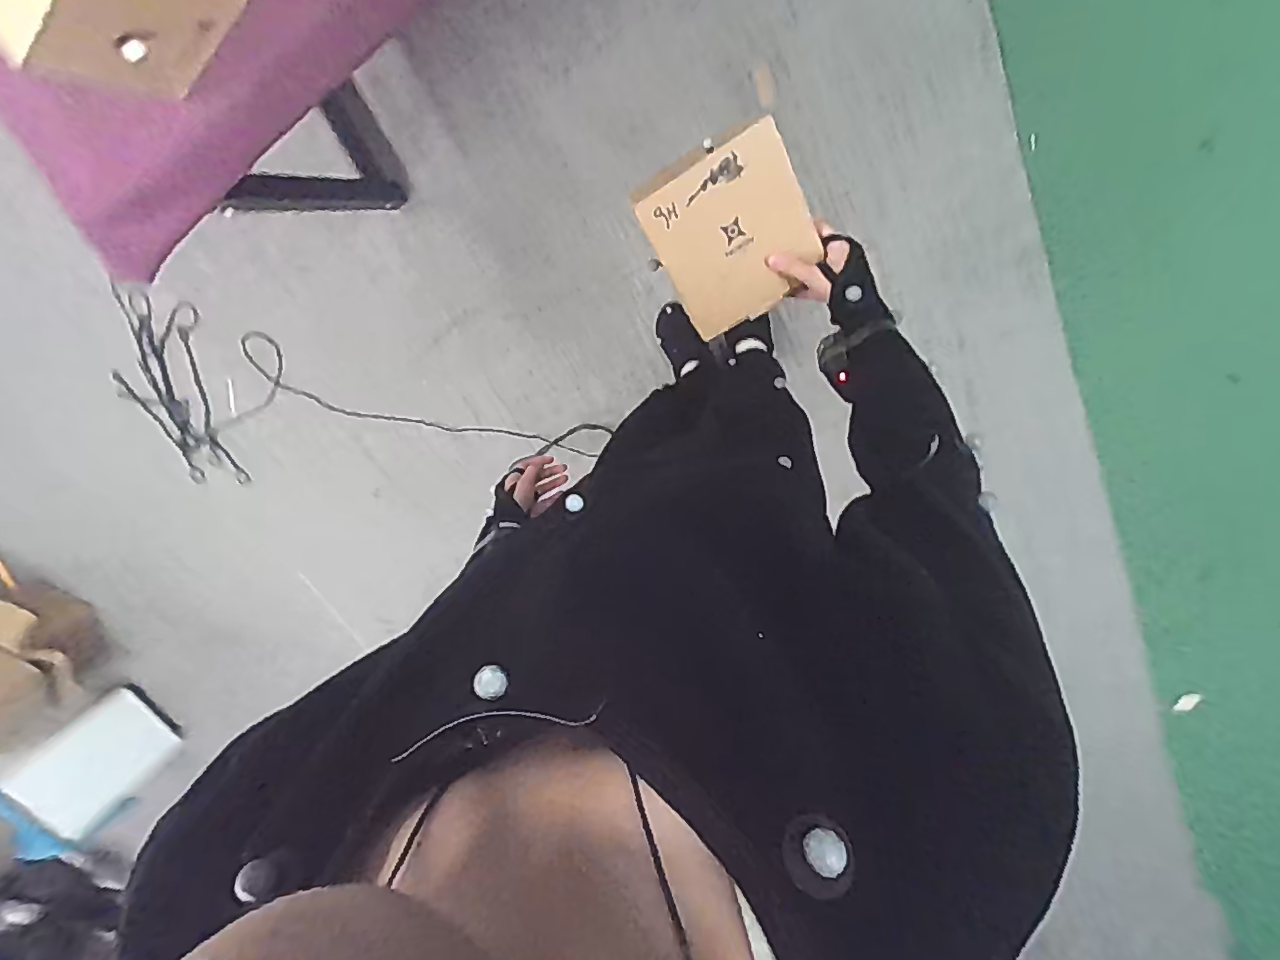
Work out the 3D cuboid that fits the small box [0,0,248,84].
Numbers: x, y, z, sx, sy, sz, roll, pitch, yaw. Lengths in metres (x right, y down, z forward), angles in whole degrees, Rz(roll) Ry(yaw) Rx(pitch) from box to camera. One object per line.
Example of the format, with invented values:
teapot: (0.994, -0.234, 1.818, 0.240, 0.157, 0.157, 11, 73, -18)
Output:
small box: (-0.543, -0.530, 0.529, 0.168, 0.176, 0.179, -28, 105, 23)
